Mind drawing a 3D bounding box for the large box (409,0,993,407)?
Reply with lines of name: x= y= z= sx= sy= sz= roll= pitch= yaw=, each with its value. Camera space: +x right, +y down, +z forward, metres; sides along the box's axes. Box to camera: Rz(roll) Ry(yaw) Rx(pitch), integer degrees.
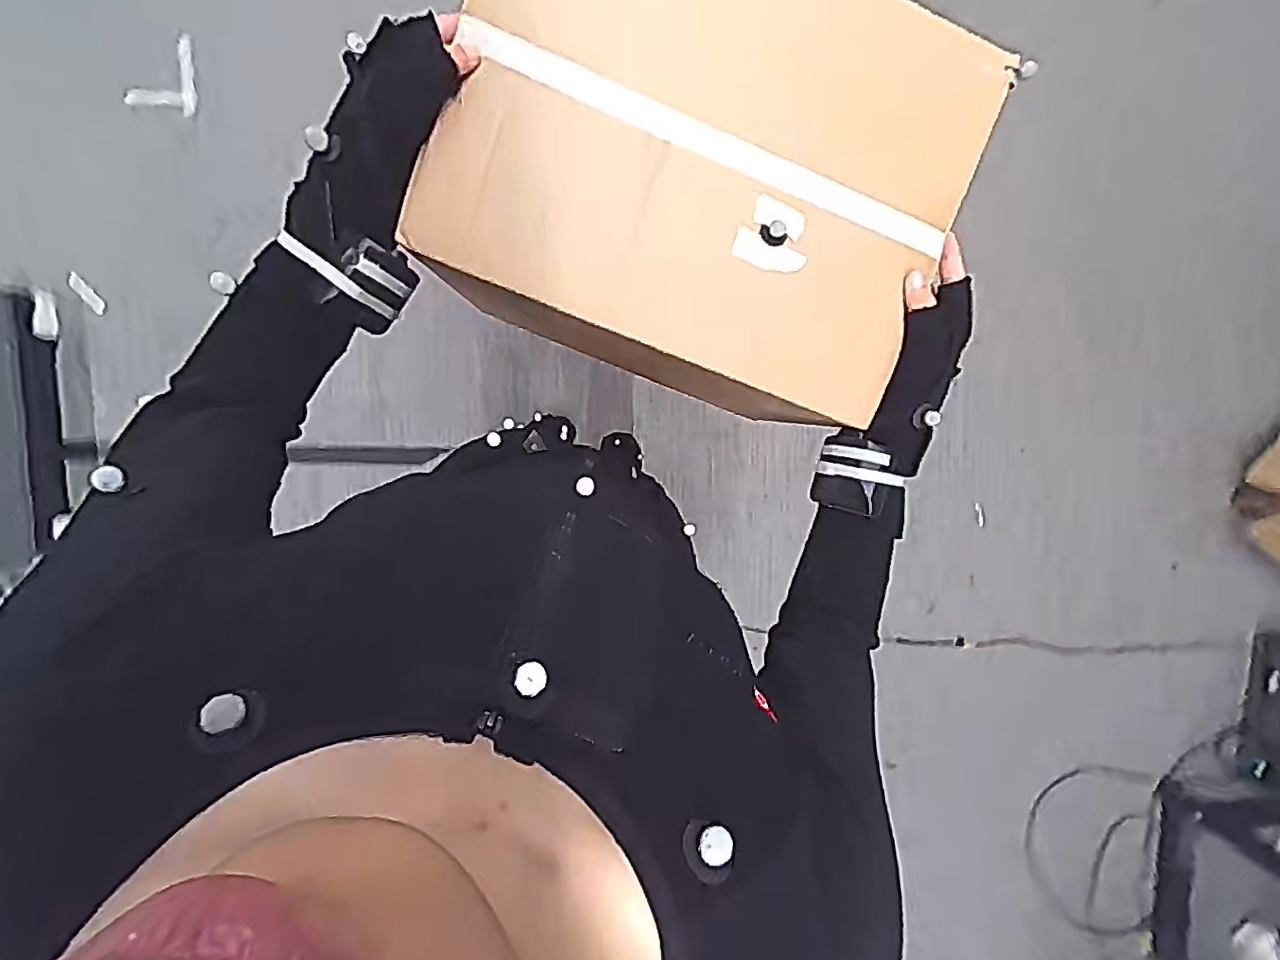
large box: x=0.039 y=-0.285 z=0.572 sx=0.408 sy=0.320 sz=0.320 roll=19 pitch=96 yaw=-8
